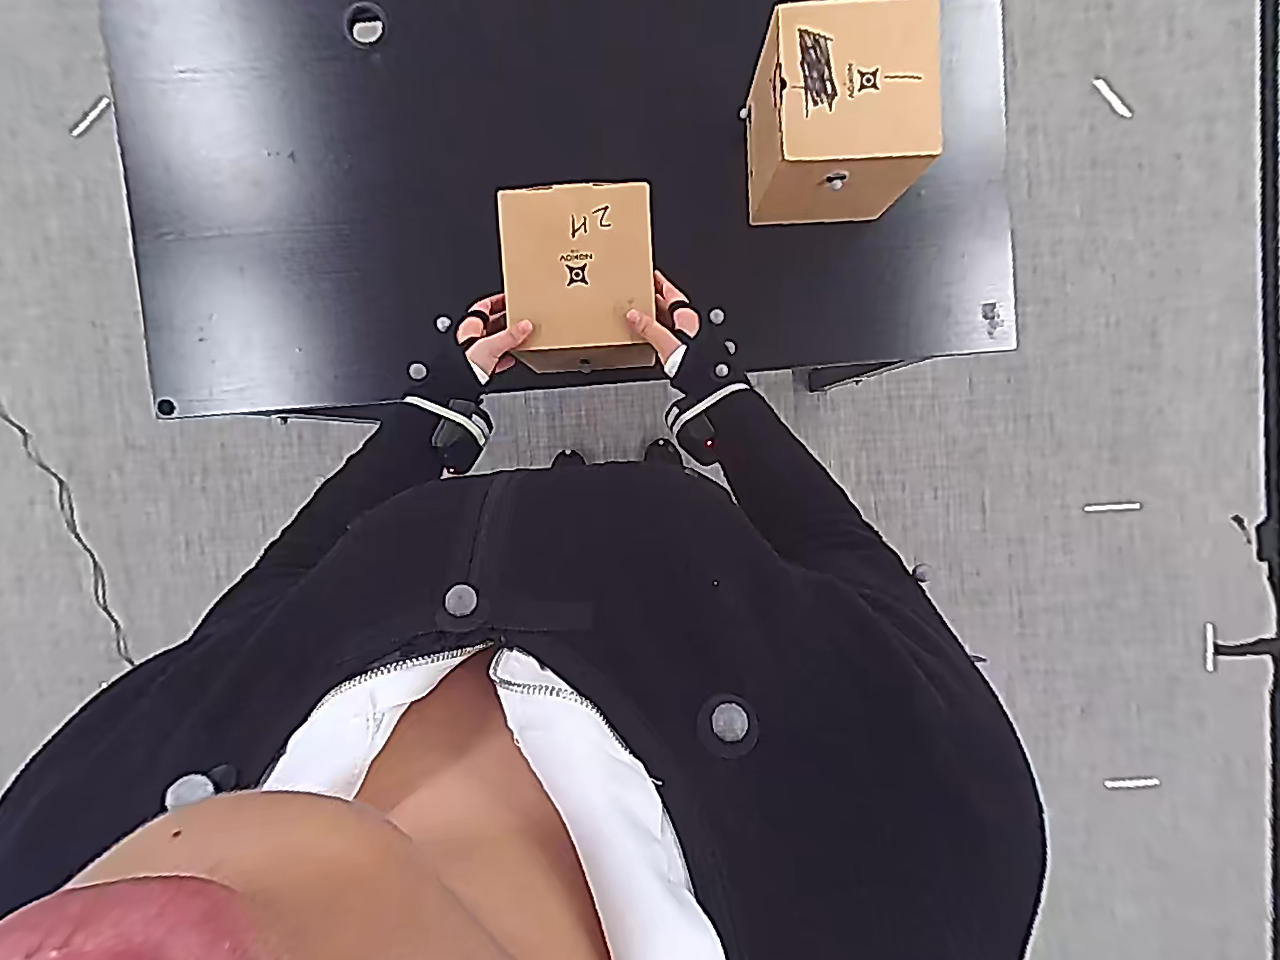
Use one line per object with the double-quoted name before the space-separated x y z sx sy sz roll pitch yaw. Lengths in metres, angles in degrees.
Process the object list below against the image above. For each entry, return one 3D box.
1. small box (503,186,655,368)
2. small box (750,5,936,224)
"small box" -0.066 -0.239 0.680 0.168 0.176 0.179 -3 93 0
"small box" 0.235 -0.433 0.669 0.179 0.176 0.168 -2 93 0
